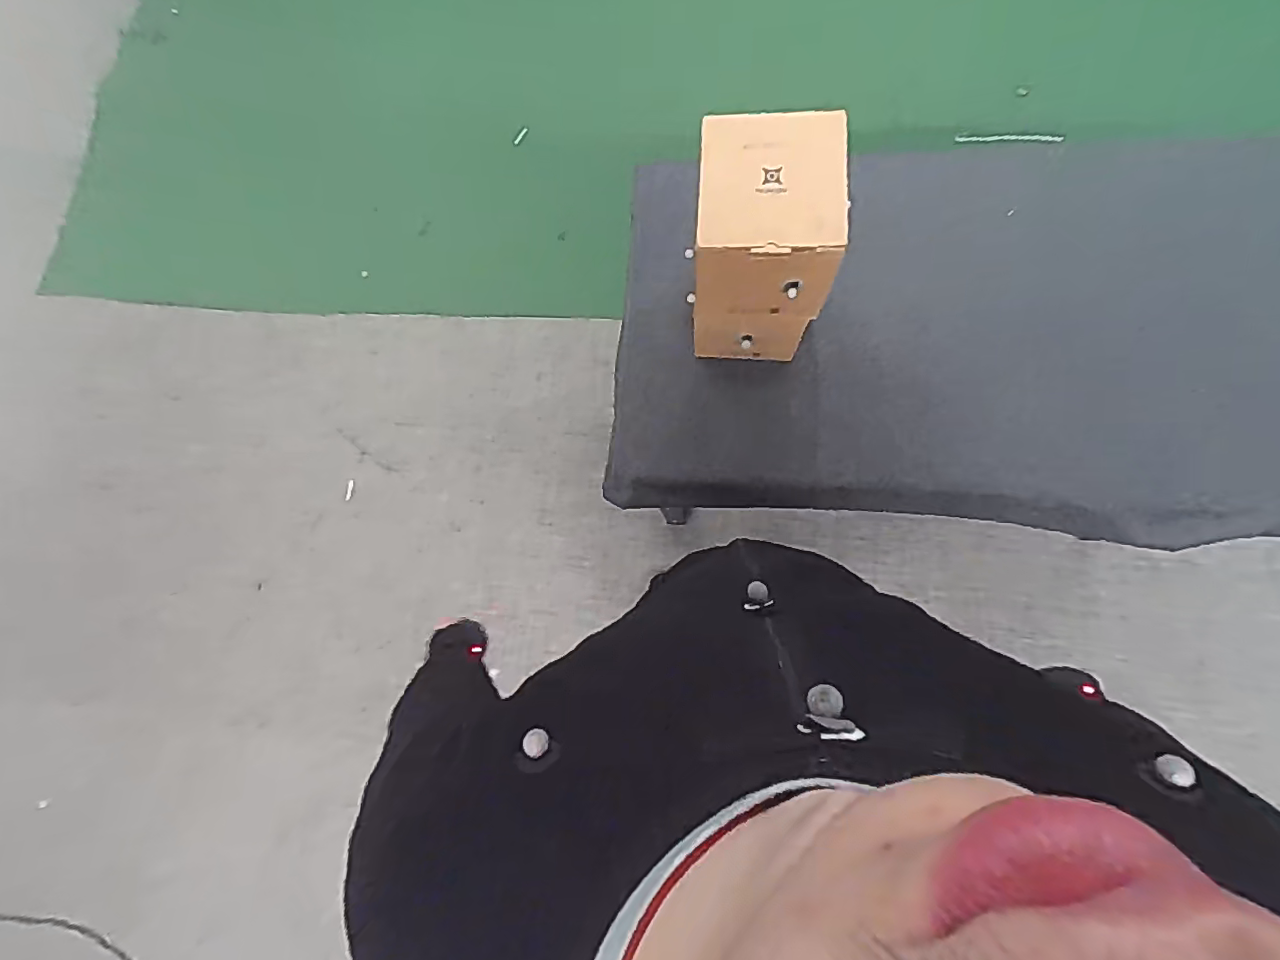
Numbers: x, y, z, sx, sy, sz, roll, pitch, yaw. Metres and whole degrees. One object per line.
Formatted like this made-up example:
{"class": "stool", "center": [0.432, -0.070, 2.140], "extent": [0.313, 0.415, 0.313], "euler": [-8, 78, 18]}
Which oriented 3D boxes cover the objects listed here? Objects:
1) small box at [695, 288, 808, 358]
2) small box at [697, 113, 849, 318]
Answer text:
{"class": "small box", "center": [0.175, -0.304, 0.849], "extent": [0.168, 0.176, 0.179], "euler": [4, 80, 6]}
{"class": "small box", "center": [0.159, -0.322, 0.688], "extent": [0.168, 0.176, 0.179], "euler": [2, 78, 5]}
